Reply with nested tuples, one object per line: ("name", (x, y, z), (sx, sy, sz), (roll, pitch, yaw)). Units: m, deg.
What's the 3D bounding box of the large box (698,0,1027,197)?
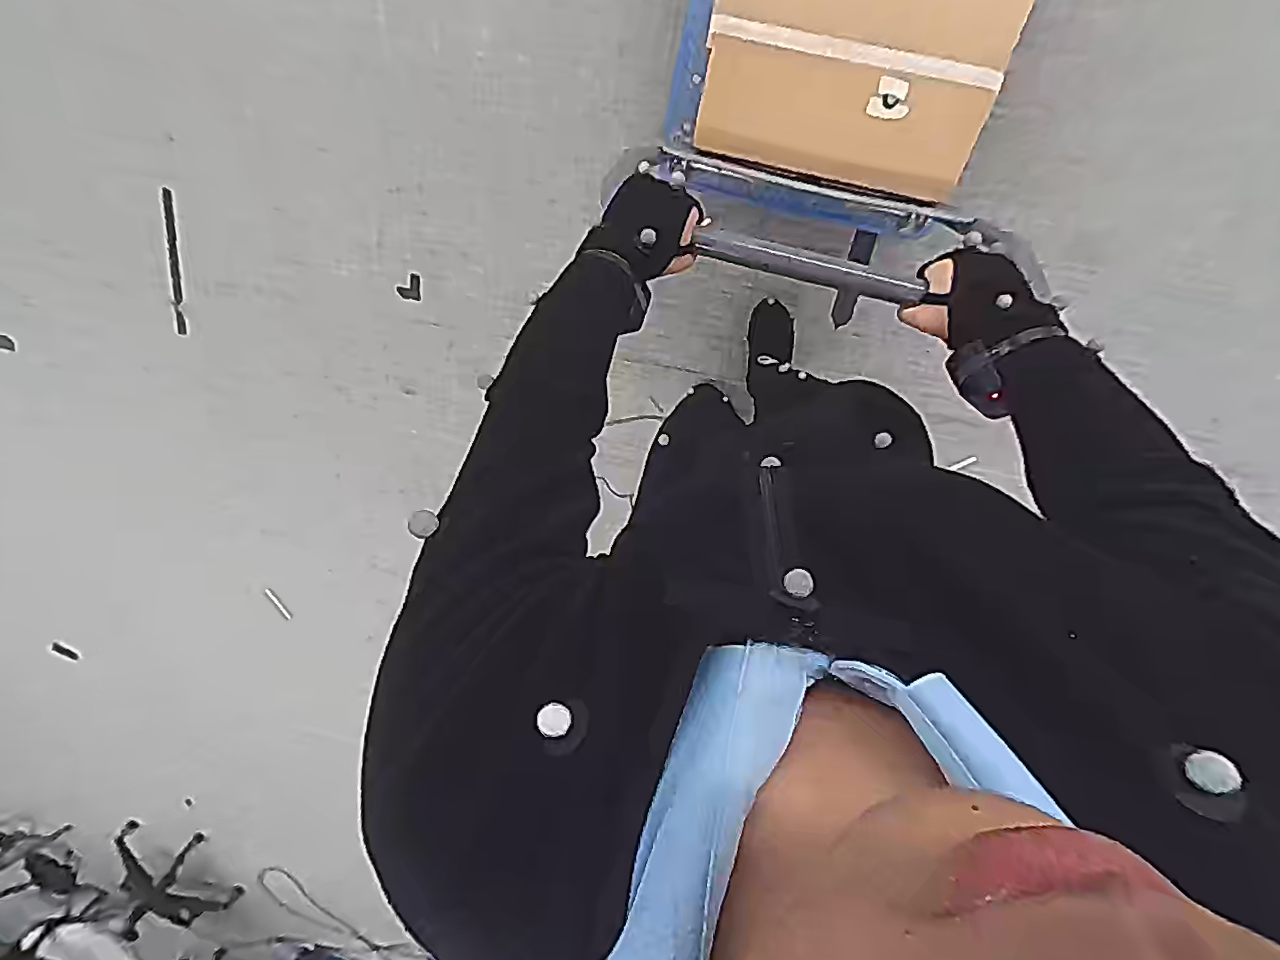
("large box", (0.332, -0.682, 0.901), (0.408, 0.320, 0.320), (14, 121, 3))
